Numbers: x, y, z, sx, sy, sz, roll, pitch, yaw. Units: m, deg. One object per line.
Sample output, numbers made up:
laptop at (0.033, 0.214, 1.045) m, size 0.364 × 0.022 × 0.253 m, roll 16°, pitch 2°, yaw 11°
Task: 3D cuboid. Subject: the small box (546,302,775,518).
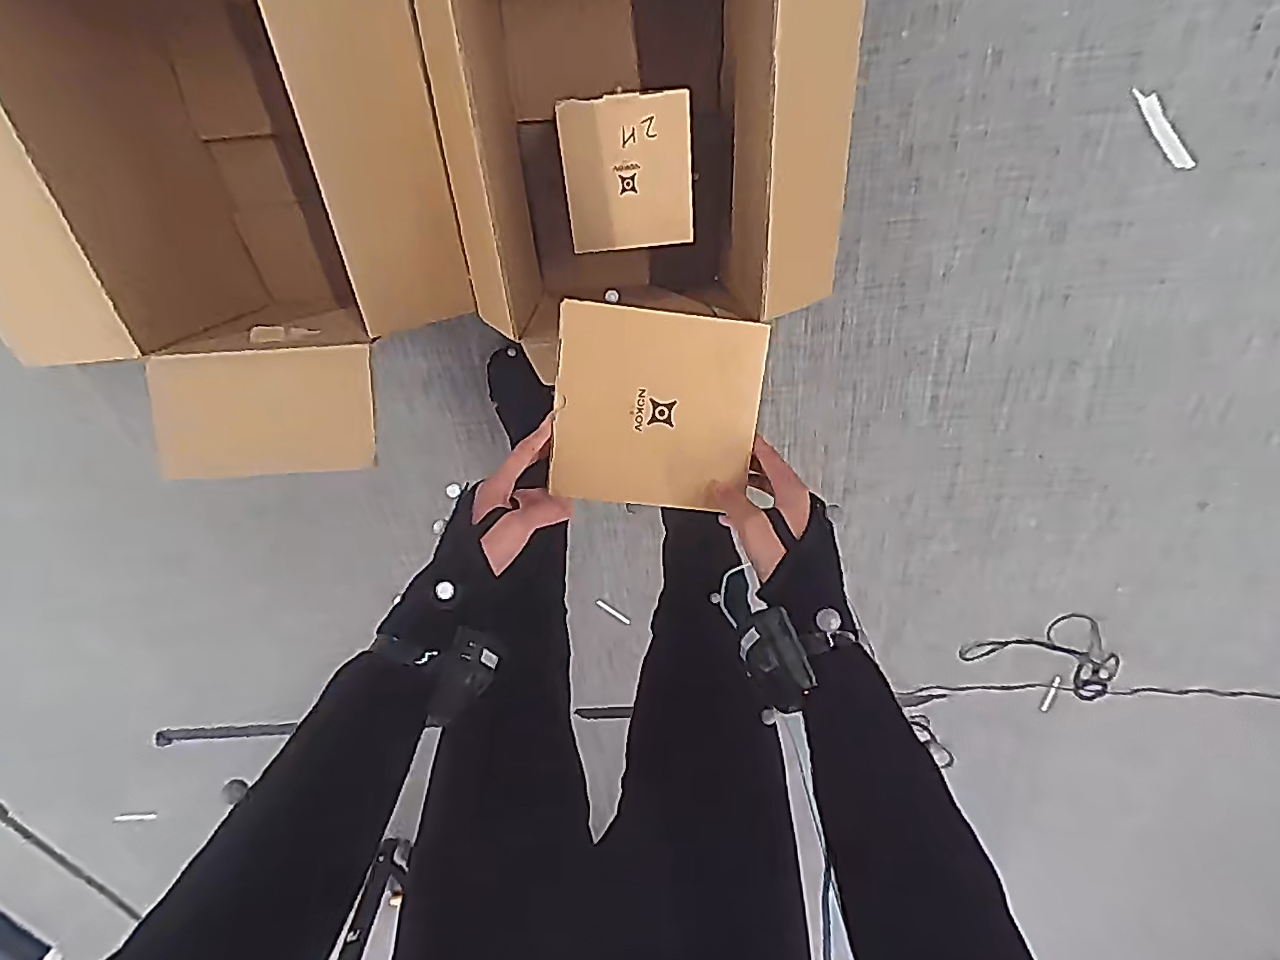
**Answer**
small box at (0.013, -0.072, 0.529) m, size 0.179 × 0.176 × 0.168 m, roll 6°, pitch 102°, yaw -2°
